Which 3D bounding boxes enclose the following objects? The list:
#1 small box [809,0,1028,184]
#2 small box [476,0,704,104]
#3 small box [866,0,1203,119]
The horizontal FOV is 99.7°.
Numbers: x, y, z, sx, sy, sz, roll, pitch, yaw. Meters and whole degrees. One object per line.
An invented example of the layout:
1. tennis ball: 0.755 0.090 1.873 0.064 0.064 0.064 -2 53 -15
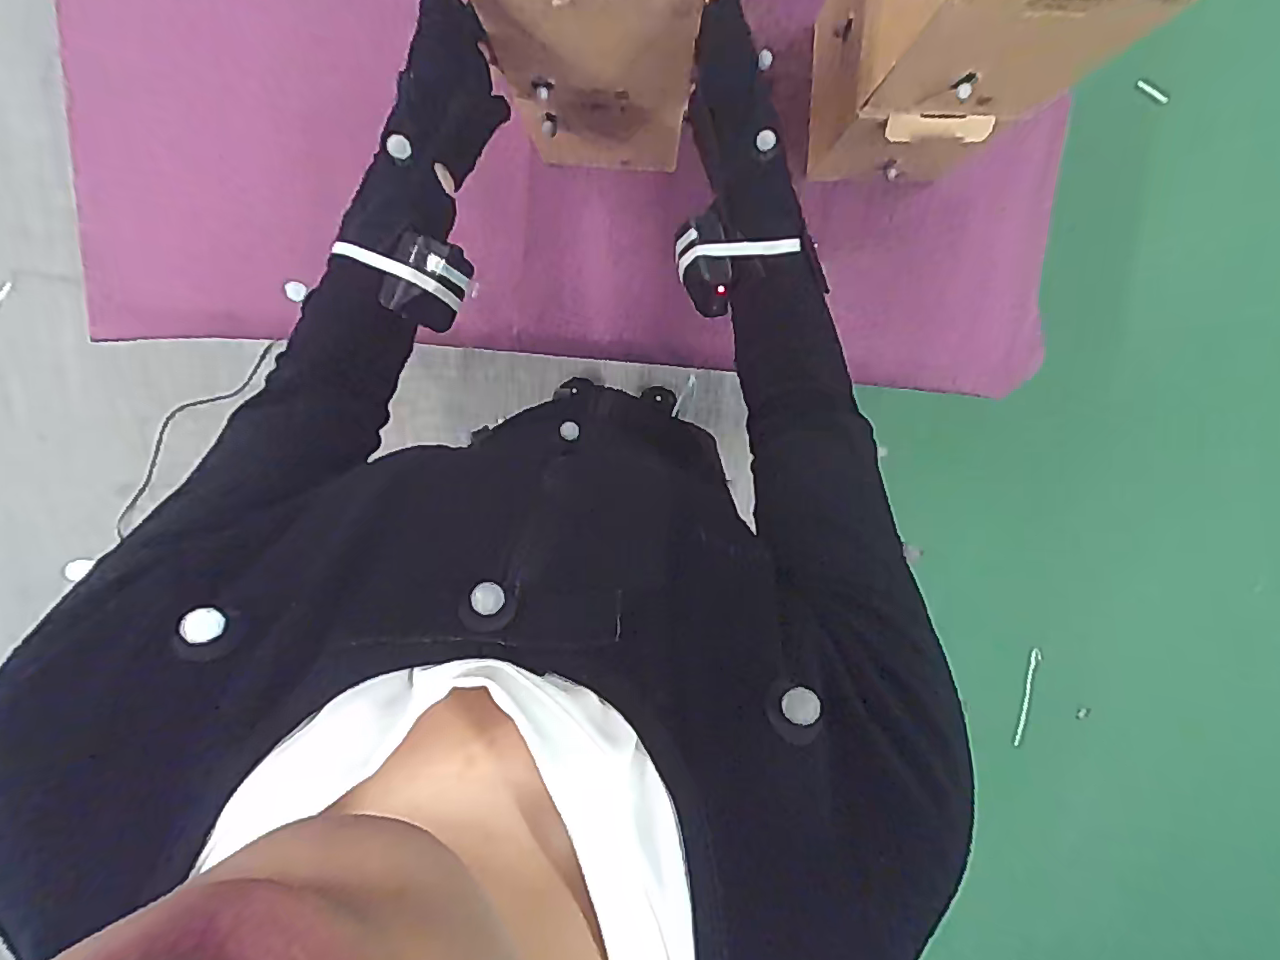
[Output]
1. small box: 0.289 -0.443 0.579 0.168 0.176 0.179 1 101 0
2. small box: -0.030 -0.424 0.413 0.168 0.176 0.179 3 99 -1
3. small box: 0.293 -0.416 0.418 0.168 0.176 0.179 1 101 0
